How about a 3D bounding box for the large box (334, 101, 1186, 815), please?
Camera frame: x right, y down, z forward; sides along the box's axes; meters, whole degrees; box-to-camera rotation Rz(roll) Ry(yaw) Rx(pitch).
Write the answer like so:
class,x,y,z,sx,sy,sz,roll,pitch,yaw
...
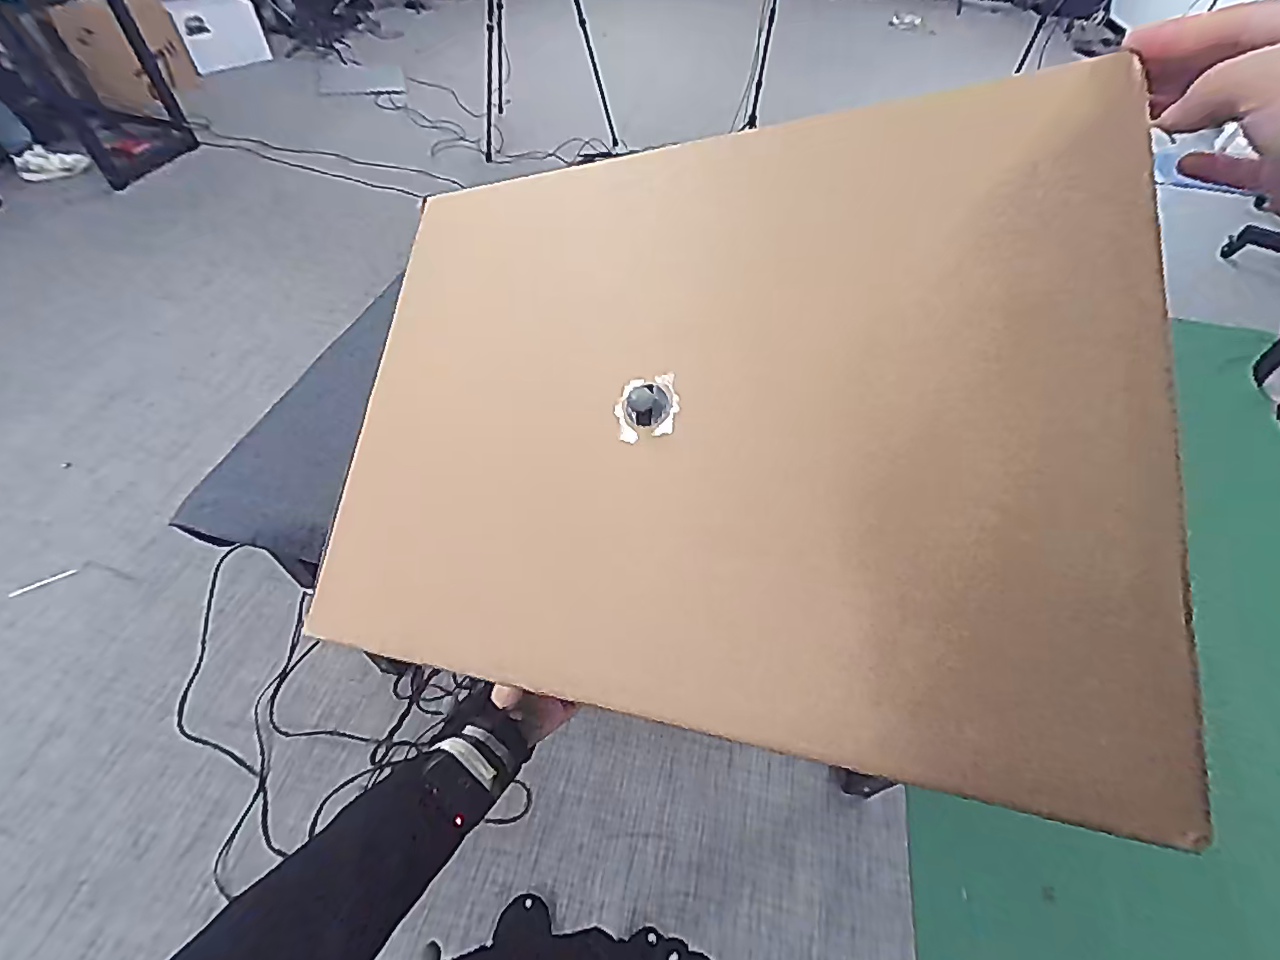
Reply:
class,x,y,z,sx,sy,sz,roll,pitch,yaw
large box,0.067,0.004,0.416,0.408,0.320,0.320,2,75,22
